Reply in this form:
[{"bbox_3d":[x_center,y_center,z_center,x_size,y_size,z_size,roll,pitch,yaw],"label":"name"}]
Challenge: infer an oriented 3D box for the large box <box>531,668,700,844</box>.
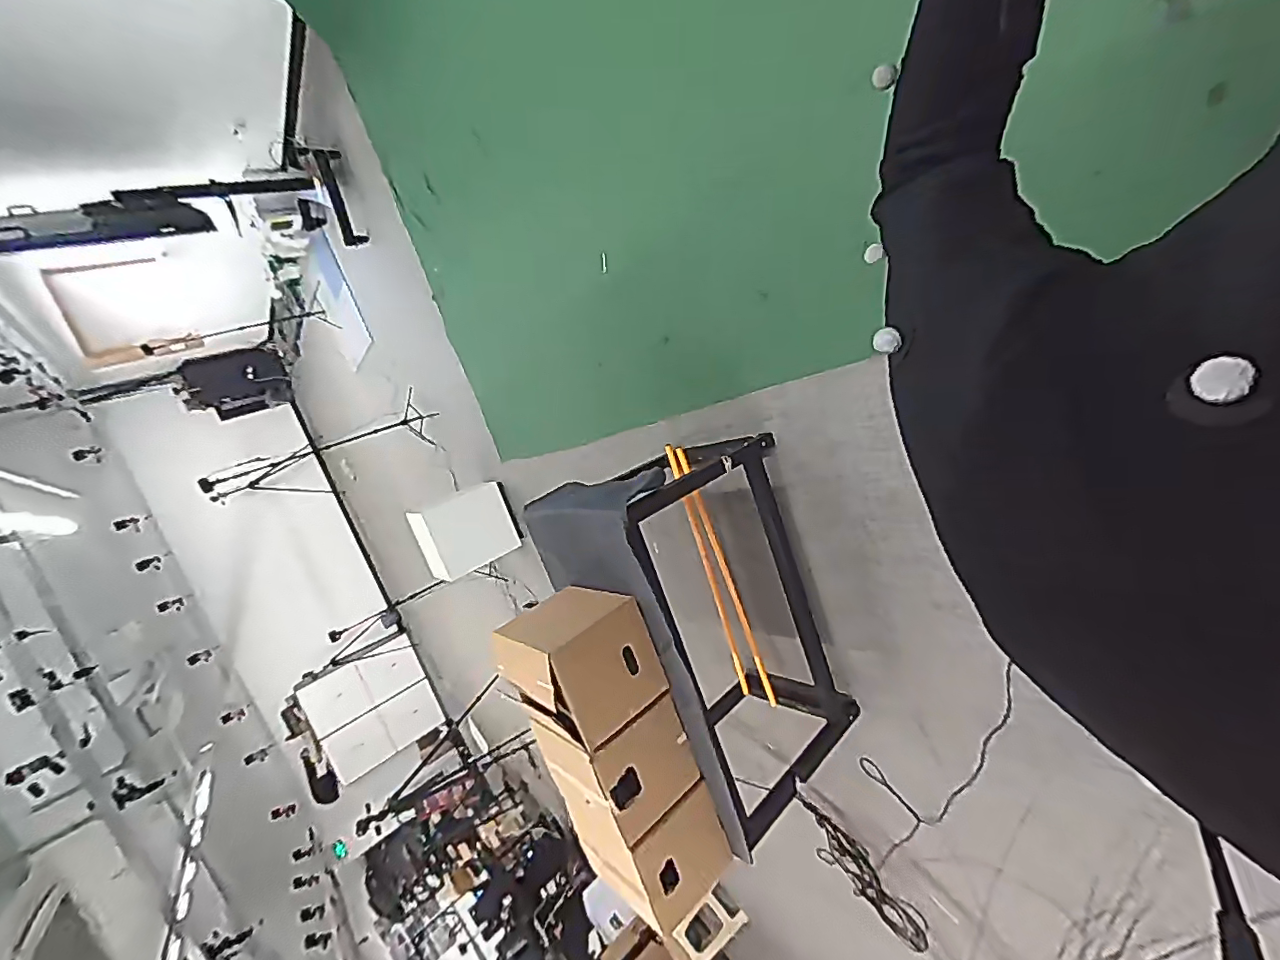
[{"bbox_3d":[-0.085,0.840,1.723,0.408,0.320,0.320,-10,104,53],"label":"large box"}]
